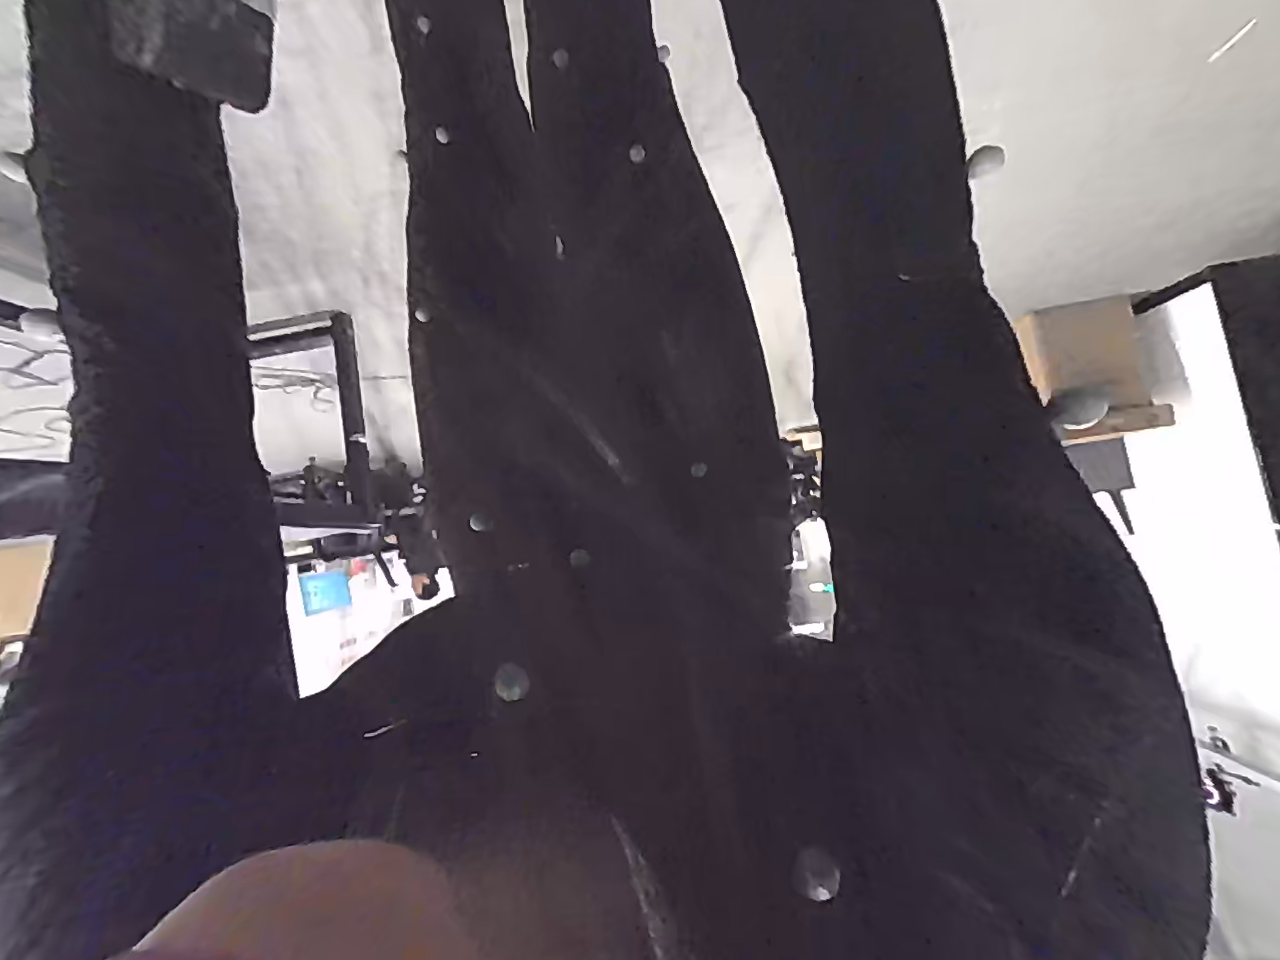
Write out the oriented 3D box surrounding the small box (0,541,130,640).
[{"bbox_3d":[-1.173,0.215,1.072,0.179,0.176,0.168,-9,176,2],"label":"small box"}]
